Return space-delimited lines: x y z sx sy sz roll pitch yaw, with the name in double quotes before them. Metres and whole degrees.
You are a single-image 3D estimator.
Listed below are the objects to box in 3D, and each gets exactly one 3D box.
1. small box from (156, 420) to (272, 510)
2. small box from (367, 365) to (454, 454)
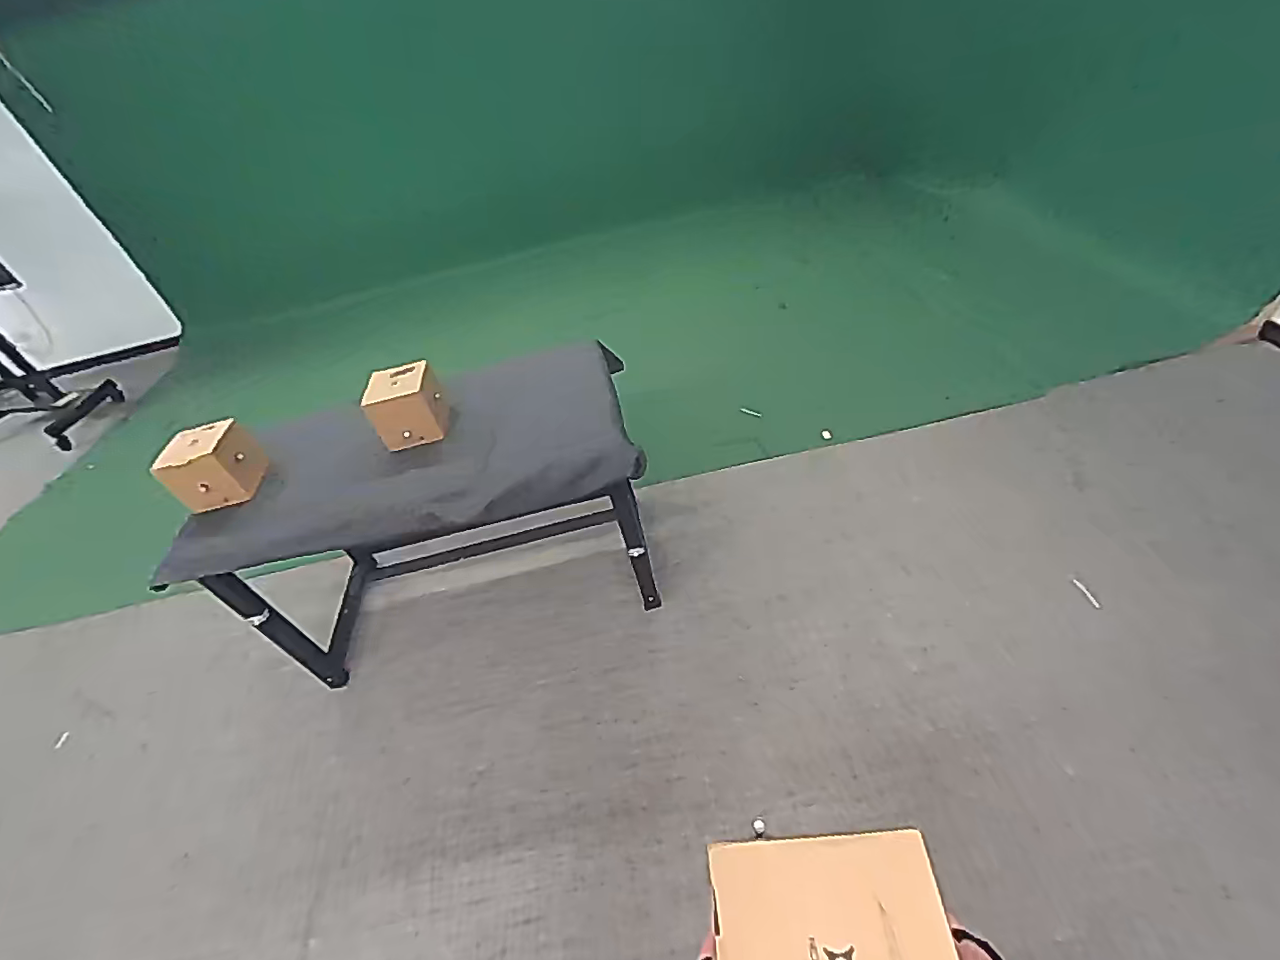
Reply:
"small box" -1.178 -0.035 1.516 0.168 0.176 0.179 -15 42 -2
"small box" -0.654 -0.202 1.563 0.168 0.176 0.179 -14 43 0
